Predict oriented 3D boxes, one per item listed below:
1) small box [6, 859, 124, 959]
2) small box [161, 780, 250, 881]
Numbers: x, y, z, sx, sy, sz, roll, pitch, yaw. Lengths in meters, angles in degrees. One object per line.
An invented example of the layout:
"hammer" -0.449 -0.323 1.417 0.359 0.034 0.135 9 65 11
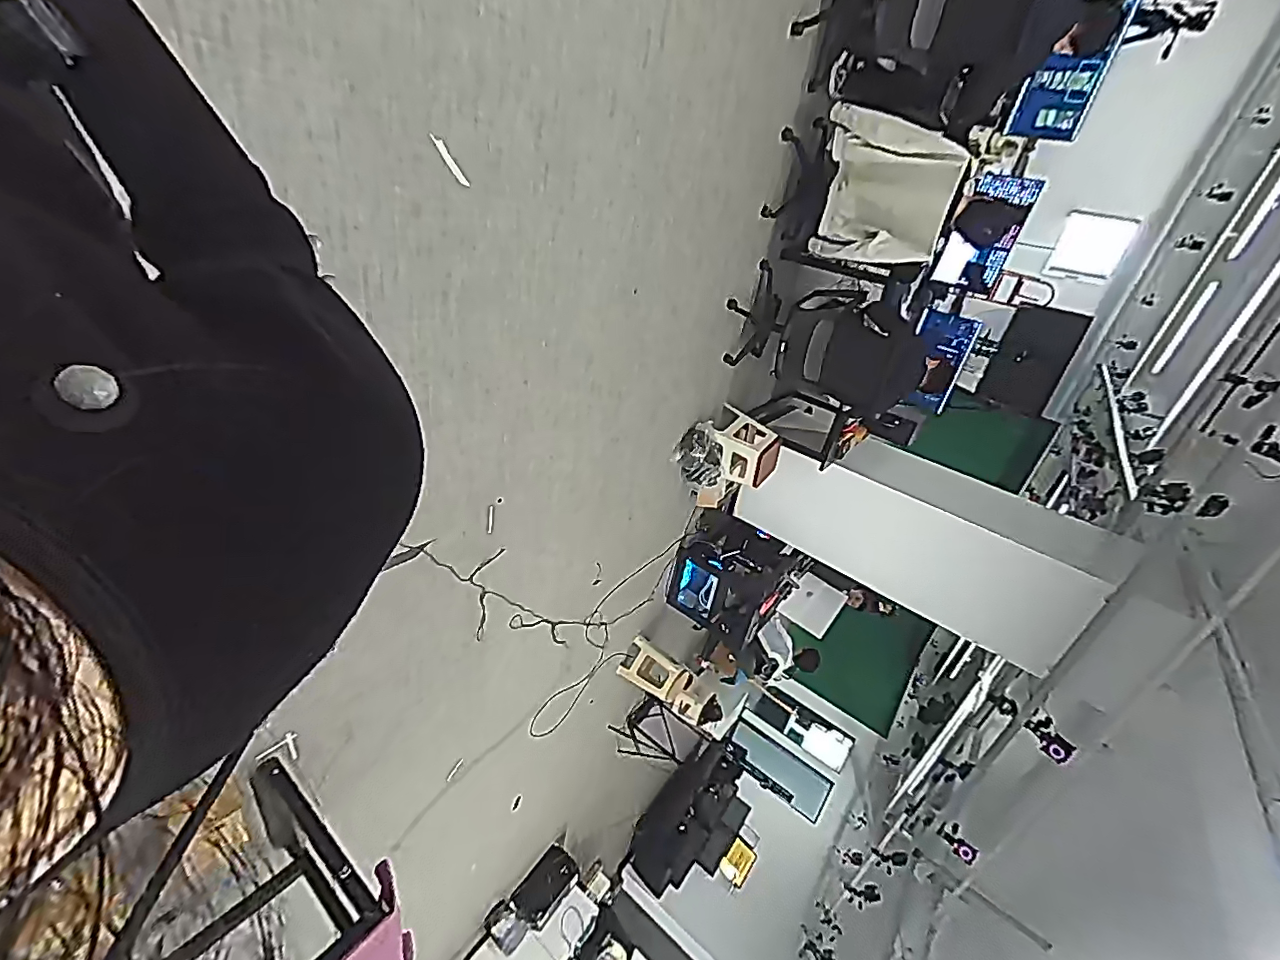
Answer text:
"small box" -1.560 1.188 1.471 0.168 0.176 0.179 -28 136 -48
"small box" -1.373 1.100 1.712 0.168 0.176 0.179 -26 136 -48
